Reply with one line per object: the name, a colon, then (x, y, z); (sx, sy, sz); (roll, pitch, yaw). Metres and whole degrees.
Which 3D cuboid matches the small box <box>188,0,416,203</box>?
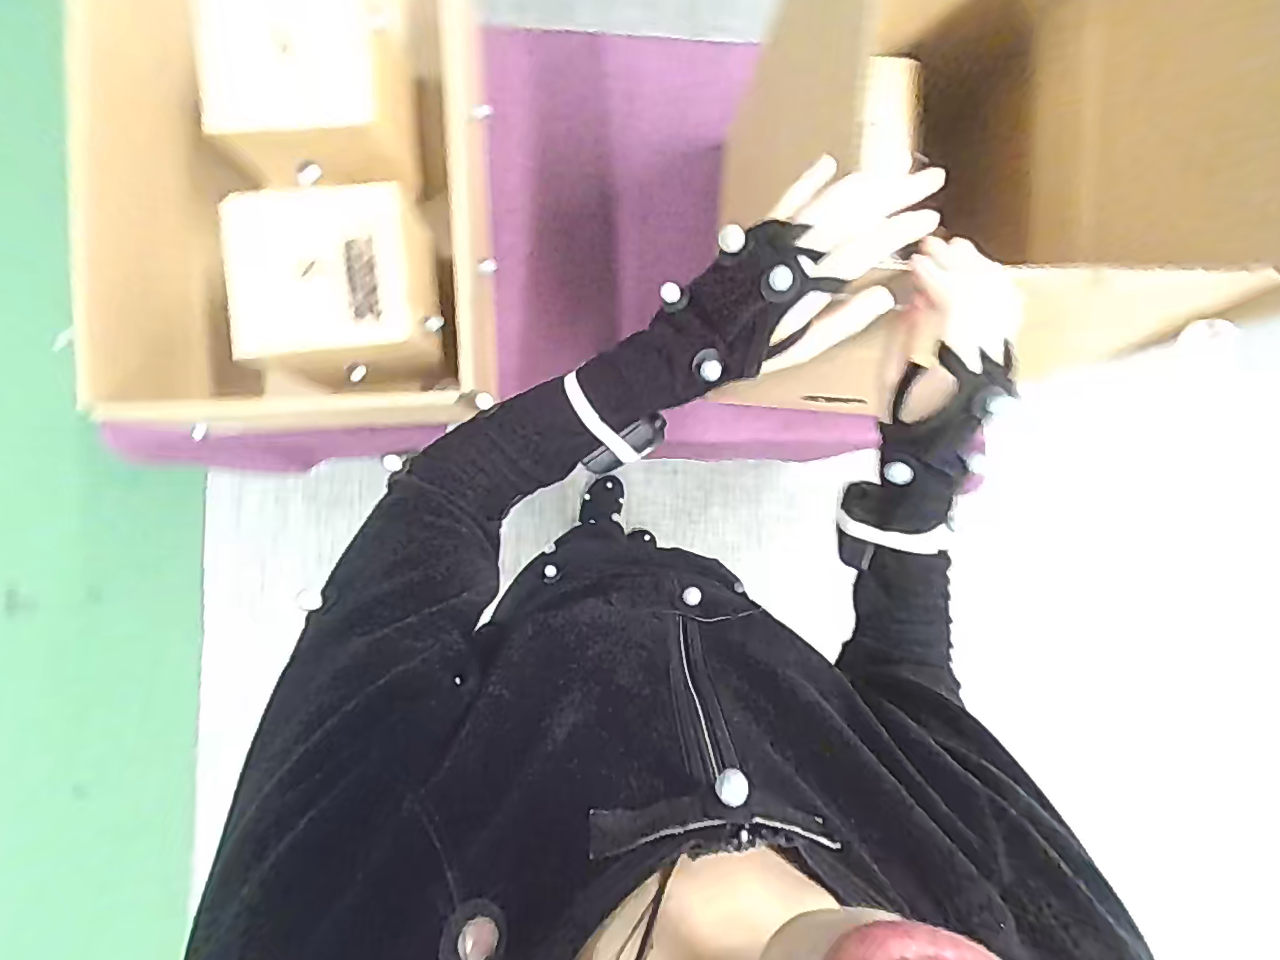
small box: (-0.379, -0.450, 0.637); (0.168, 0.176, 0.179); (-6, 89, -3)
